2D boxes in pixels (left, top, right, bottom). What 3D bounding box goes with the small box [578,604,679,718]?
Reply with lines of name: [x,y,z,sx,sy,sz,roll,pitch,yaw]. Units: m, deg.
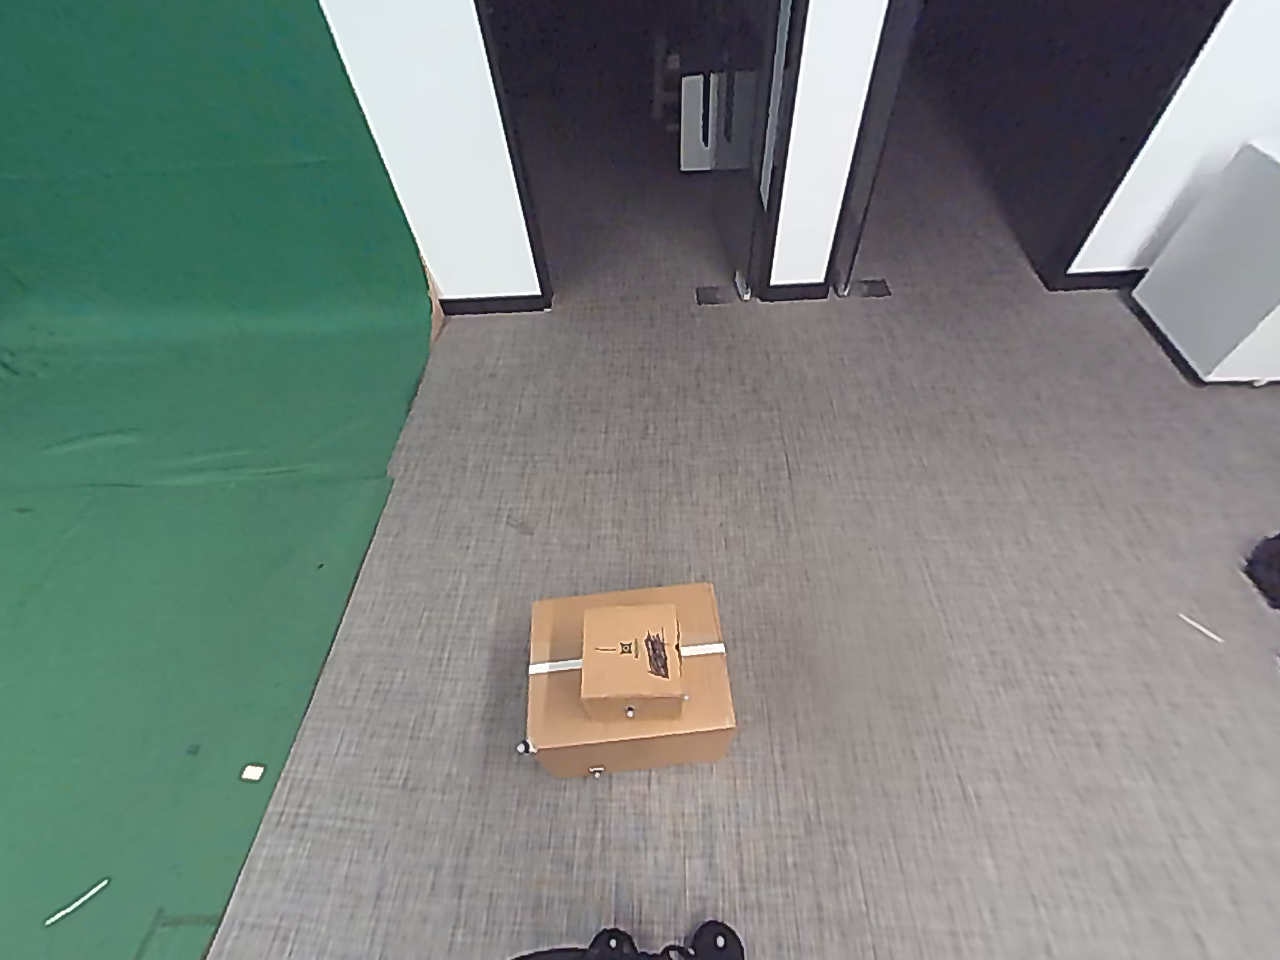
small box: [-0.017,0.350,1.037,0.179,0.176,0.168,-3,53,3]
